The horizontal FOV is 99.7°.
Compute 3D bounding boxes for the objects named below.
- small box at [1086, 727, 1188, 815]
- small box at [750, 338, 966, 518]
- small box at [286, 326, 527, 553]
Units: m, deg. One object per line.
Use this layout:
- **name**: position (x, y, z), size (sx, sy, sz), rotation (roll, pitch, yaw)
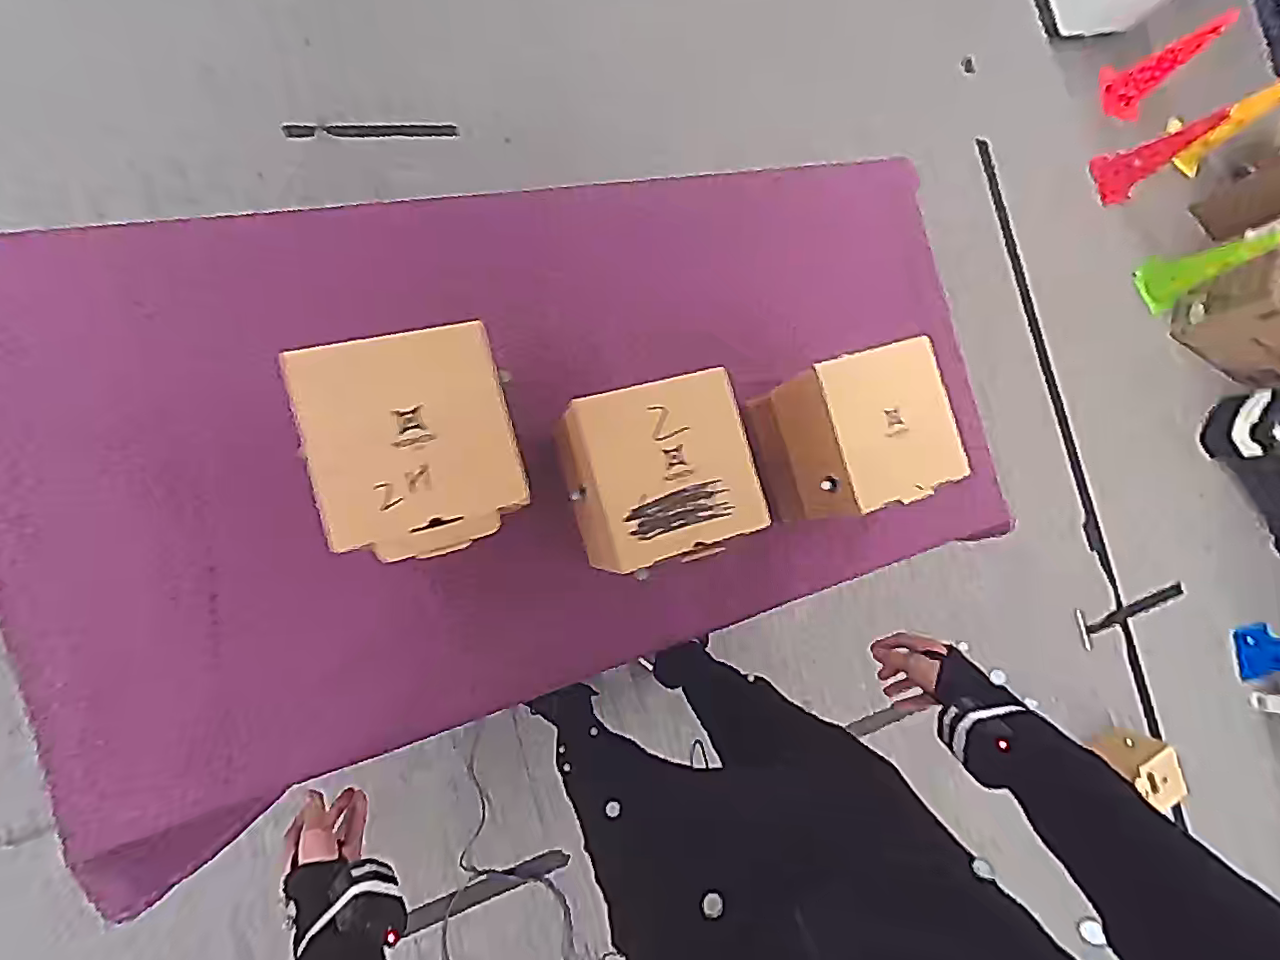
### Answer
- **small box**: position (1.583, 0.926, 1.736), size (0.179, 0.176, 0.168), rotation (-16, 89, -18)
- **small box**: position (0.265, -0.058, 0.693), size (0.168, 0.176, 0.179), rotation (-17, 89, -17)
- **small box**: position (-0.221, -0.031, 0.546), size (0.168, 0.176, 0.179), rotation (-15, 89, -17)
